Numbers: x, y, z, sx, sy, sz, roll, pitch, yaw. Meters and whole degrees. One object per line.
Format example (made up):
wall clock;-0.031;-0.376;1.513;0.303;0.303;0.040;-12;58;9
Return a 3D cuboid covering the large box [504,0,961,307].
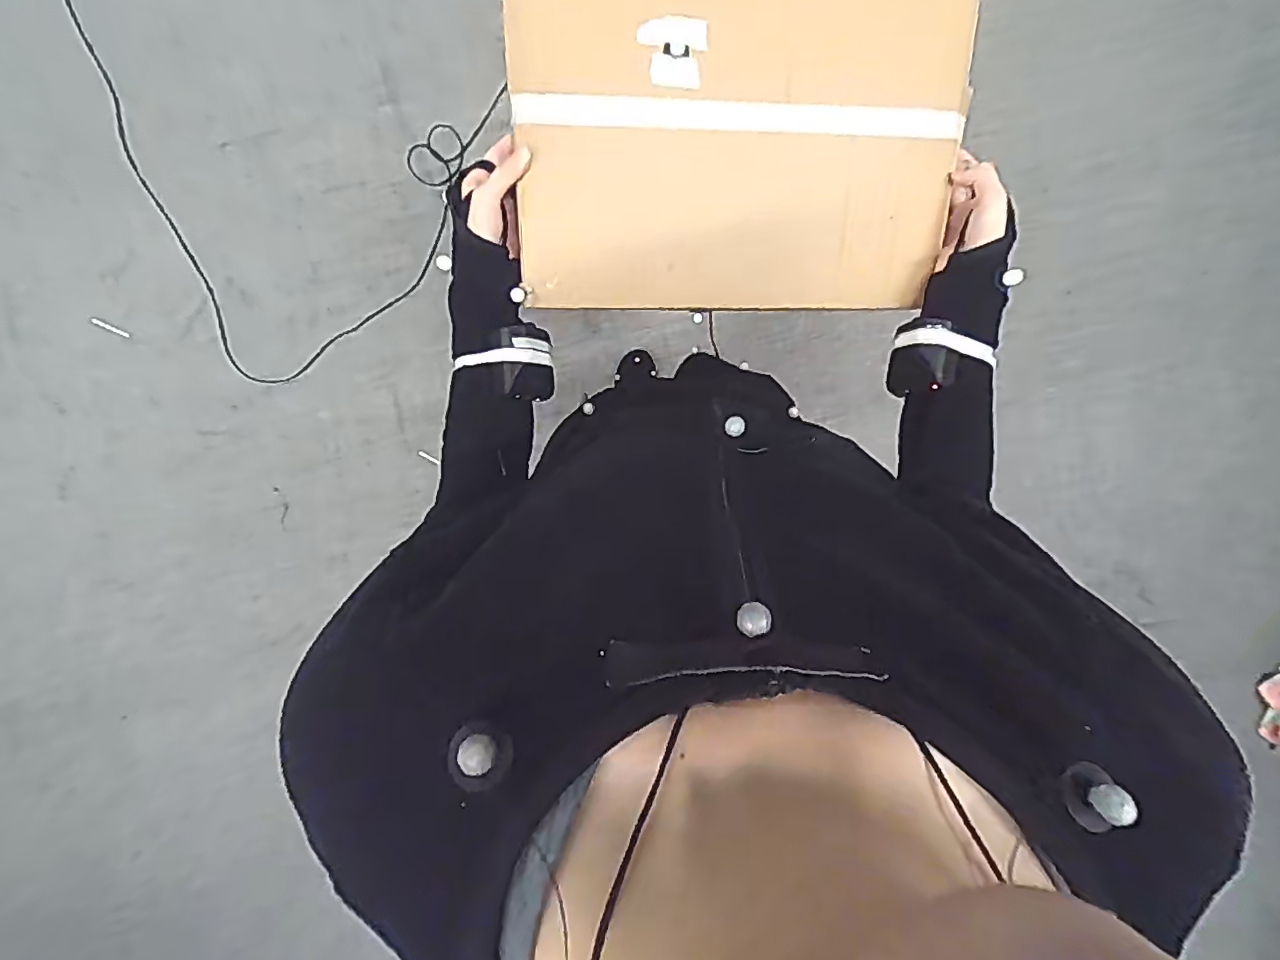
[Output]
large box;0.071;-0.368;0.629;0.408;0.320;0.320;-2;107;-6
